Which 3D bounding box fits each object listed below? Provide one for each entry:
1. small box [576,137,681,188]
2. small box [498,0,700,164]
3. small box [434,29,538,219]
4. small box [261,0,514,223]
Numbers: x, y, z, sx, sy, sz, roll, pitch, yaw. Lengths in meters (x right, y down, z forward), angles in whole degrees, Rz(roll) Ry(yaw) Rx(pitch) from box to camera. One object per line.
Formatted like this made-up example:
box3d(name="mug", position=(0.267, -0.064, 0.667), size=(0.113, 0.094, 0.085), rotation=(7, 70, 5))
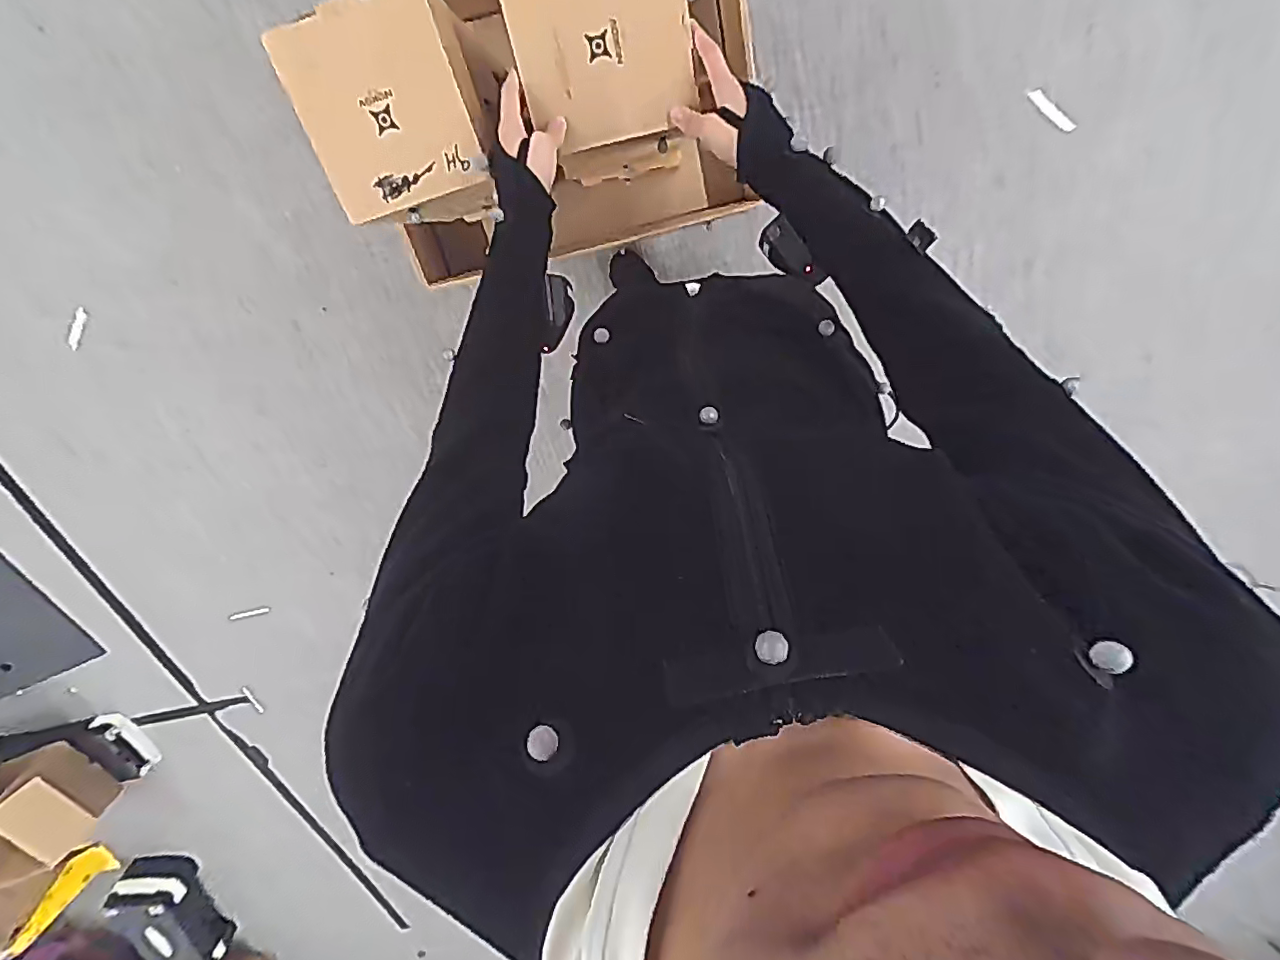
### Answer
box3d(name="small box", position=(-0.029, -0.594, 0.890), size=(0.168, 0.176, 0.179), rotation=(-9, 117, 7))
box3d(name="small box", position=(-0.037, -0.459, 0.593), size=(0.179, 0.176, 0.168), rotation=(-9, 117, 7))
box3d(name="small box", position=(-0.256, -0.478, 0.757), size=(0.168, 0.176, 0.179), rotation=(-14, 116, 6))
box3d(name="small box", position=(-0.260, -0.403, 0.609), size=(0.168, 0.176, 0.179), rotation=(-14, 115, 7))
